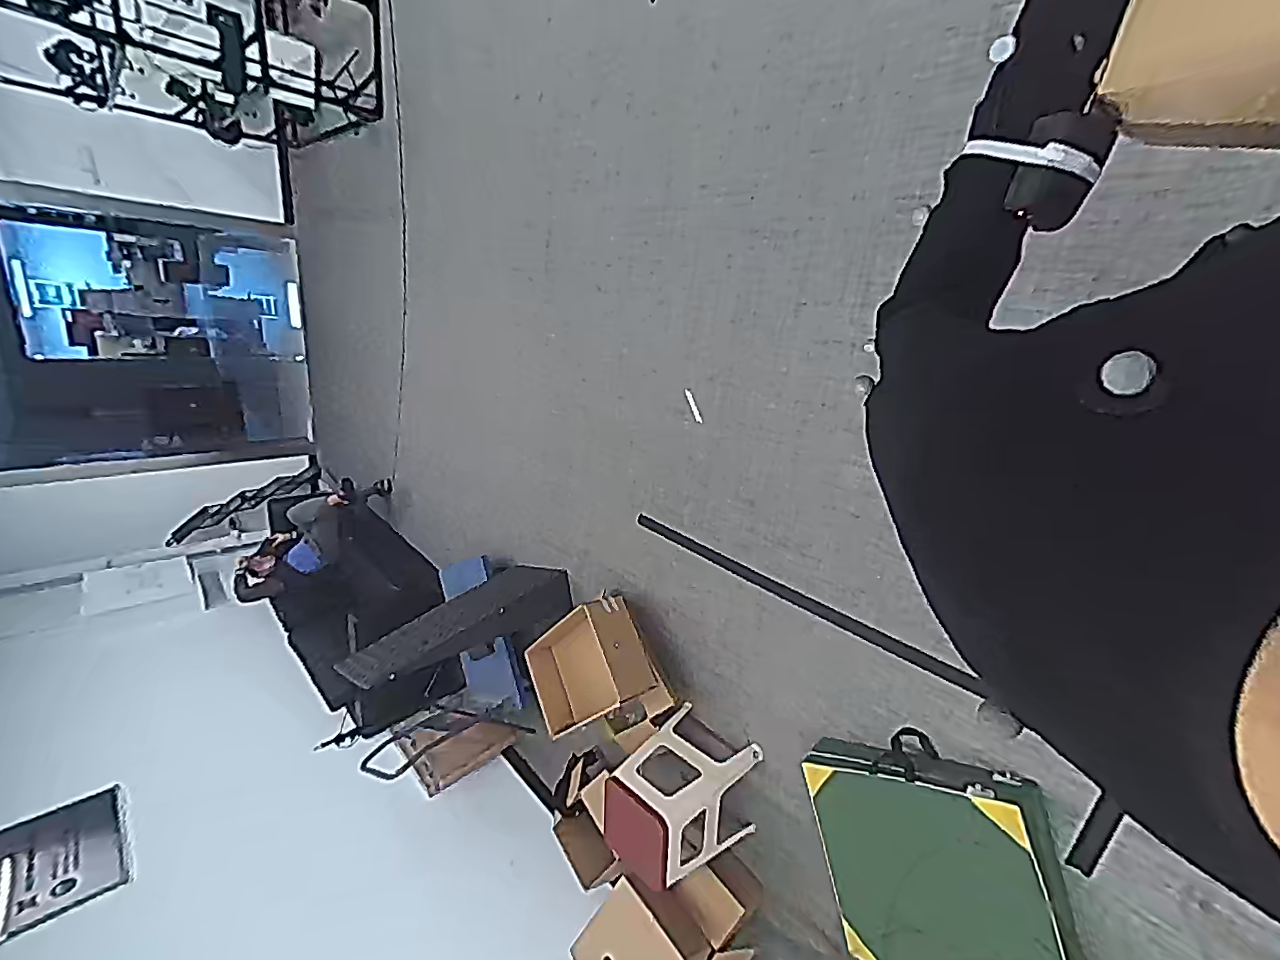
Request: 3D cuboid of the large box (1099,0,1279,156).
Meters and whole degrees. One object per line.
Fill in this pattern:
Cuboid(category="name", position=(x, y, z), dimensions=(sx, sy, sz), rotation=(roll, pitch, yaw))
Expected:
Cuboid(category="large box", position=(0.569, -0.355, 0.284), dimensions=(0.408, 0.320, 0.320), rotation=(28, 130, 36))
